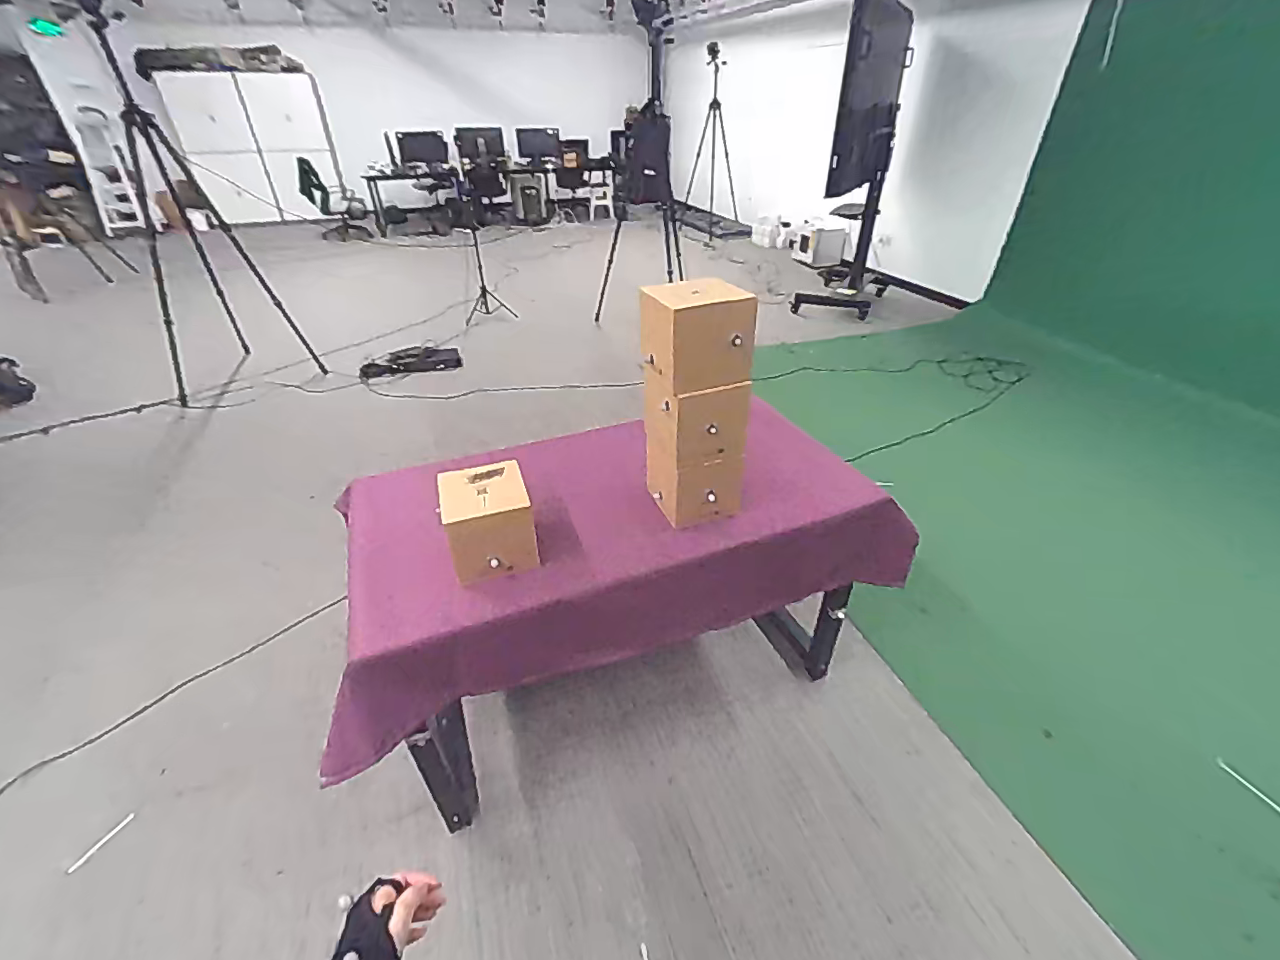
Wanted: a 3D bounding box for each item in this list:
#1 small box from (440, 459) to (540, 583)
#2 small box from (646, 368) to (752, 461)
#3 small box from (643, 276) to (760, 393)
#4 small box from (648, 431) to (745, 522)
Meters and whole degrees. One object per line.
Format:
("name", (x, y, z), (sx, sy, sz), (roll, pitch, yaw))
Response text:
("small box", (-0.309, 0.083, 1.116), (0.168, 0.176, 0.179), (-12, 38, -16))
("small box", (0.120, -0.154, 1.158), (0.168, 0.176, 0.179), (-13, 37, -17))
("small box", (0.113, -0.289, 1.067), (0.179, 0.176, 0.168), (-14, 36, -17))
("small box", (0.125, -0.020, 1.255), (0.168, 0.176, 0.179), (-13, 38, -17))
